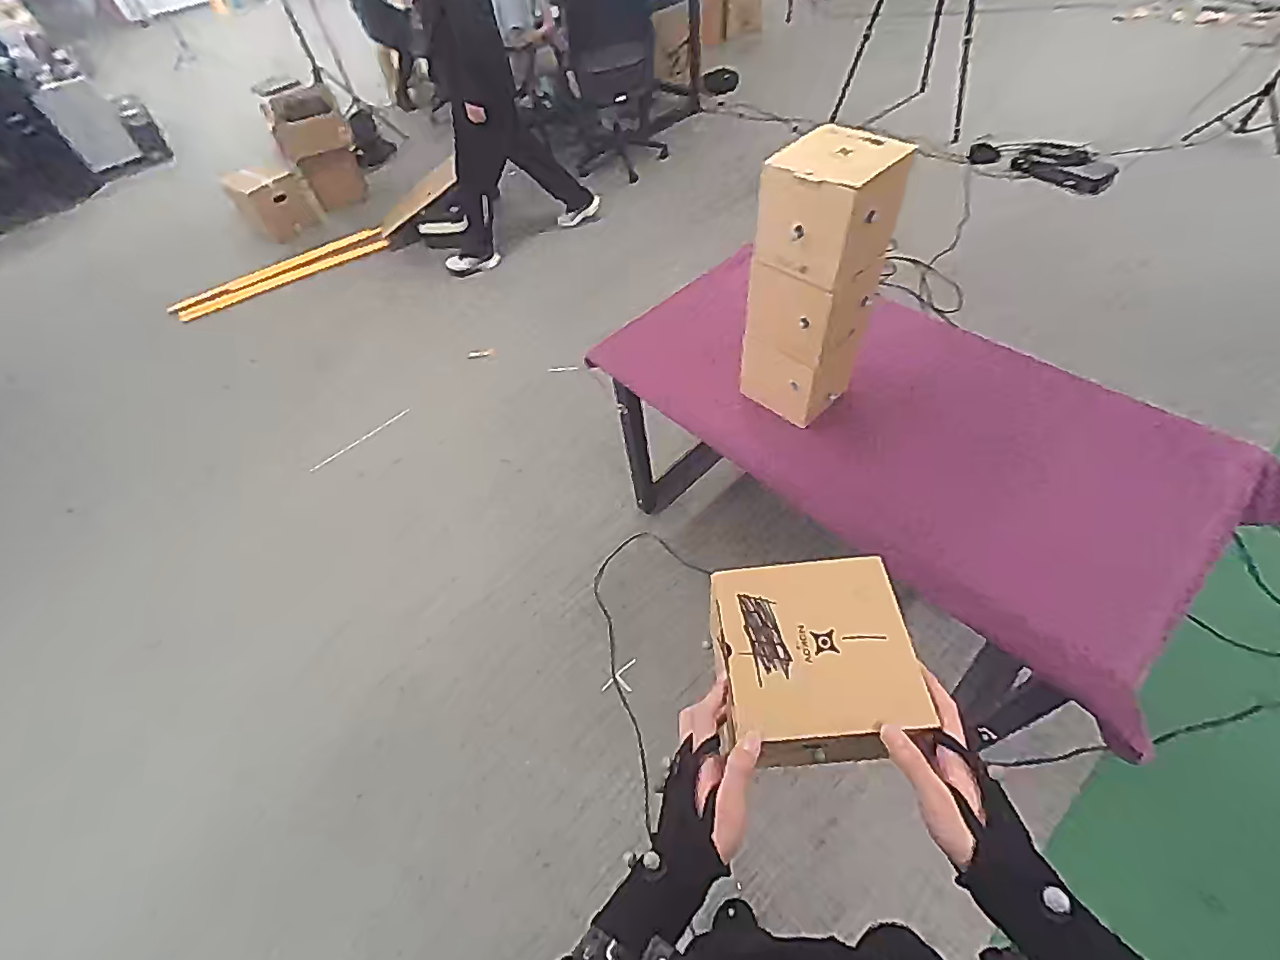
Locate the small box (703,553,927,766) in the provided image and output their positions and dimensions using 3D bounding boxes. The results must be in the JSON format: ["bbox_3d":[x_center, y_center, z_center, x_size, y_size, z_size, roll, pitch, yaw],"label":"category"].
[{"bbox_3d":[0.165,0.196,0.575,0.179,0.176,0.168,-6,54,2],"label":"small box"}]

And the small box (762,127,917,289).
[{"bbox_3d":[0.318,-0.447,0.896,0.179,0.176,0.168,-40,59,-21],"label":"small box"}]

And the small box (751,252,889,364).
[{"bbox_3d":[0.330,-0.345,1.023,0.168,0.176,0.179,-39,58,-21],"label":"small box"}]
